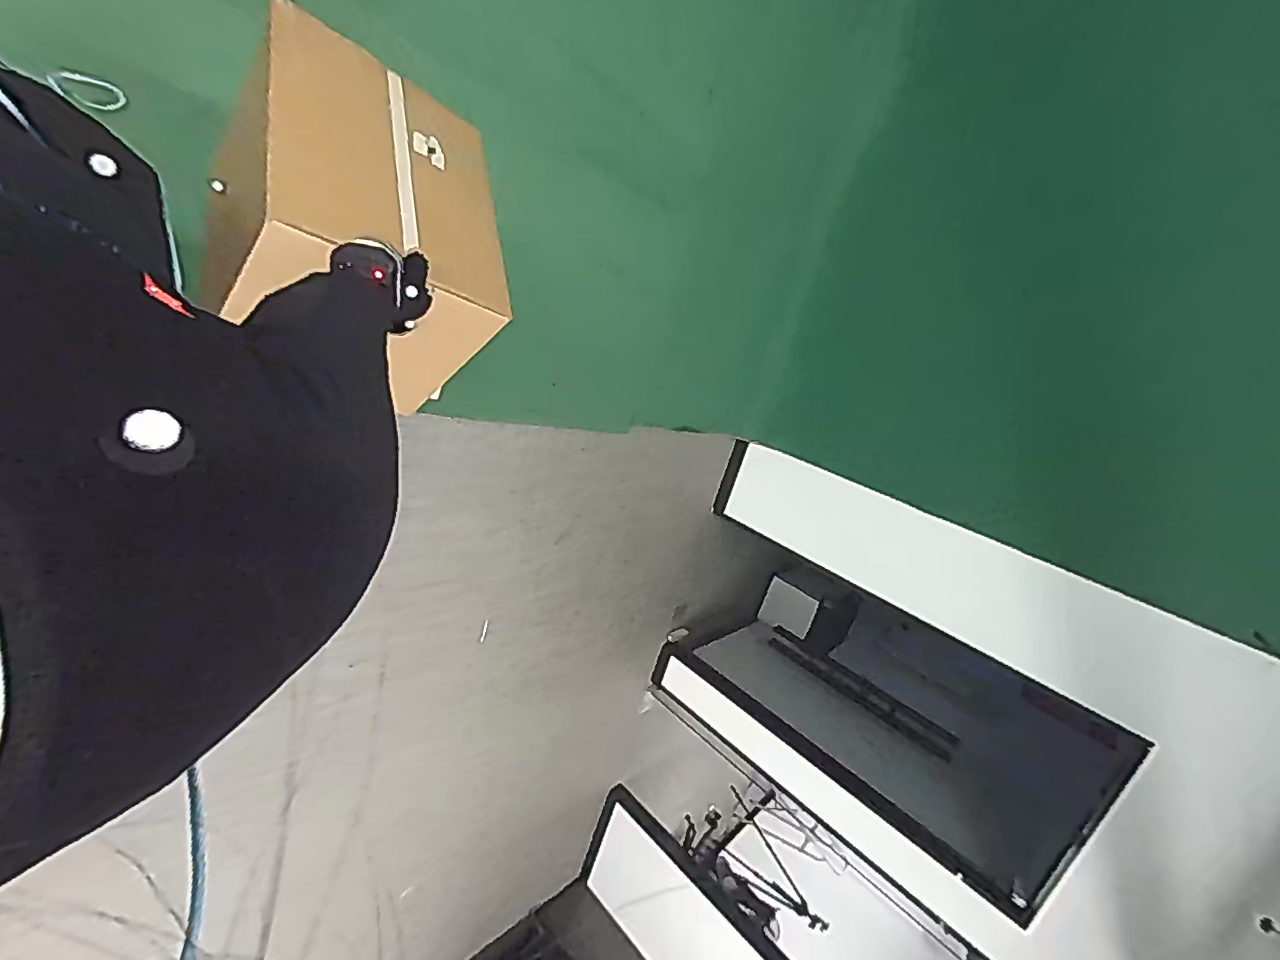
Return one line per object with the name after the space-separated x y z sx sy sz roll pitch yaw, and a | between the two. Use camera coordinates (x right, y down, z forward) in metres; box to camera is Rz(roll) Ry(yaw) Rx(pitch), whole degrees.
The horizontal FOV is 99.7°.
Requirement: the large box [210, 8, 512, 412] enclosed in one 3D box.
-0.444 -0.372 0.846 0.320 0.408 0.320 -30 155 33 | large box
